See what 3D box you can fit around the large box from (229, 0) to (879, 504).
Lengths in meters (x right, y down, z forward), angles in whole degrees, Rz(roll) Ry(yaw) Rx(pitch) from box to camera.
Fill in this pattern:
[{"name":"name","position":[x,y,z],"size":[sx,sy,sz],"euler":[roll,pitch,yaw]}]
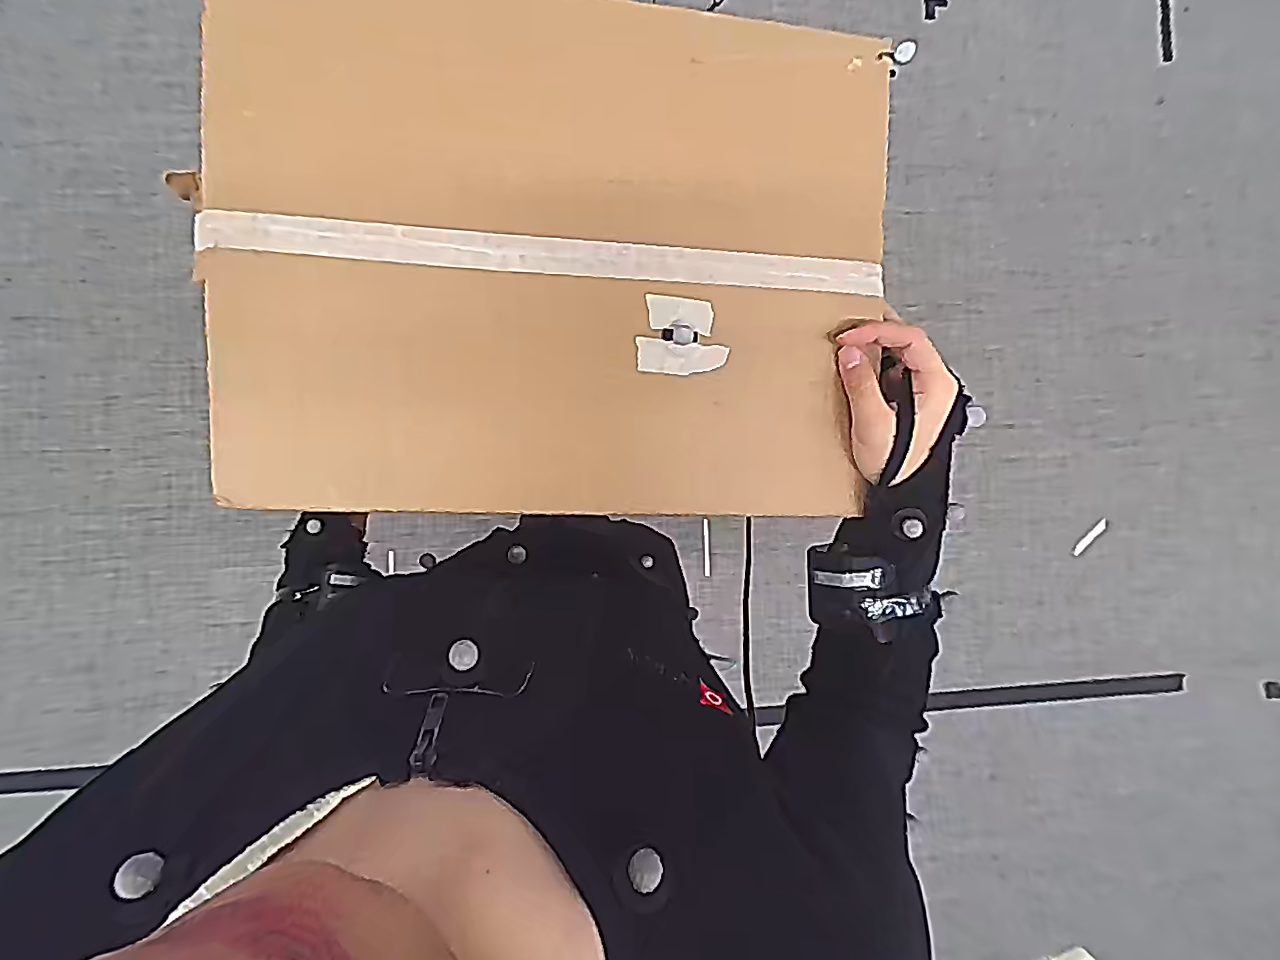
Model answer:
[{"name":"large box","position":[-0.062,-0.148,0.485],"size":[0.408,0.320,0.320],"euler":[1,94,-10]}]
